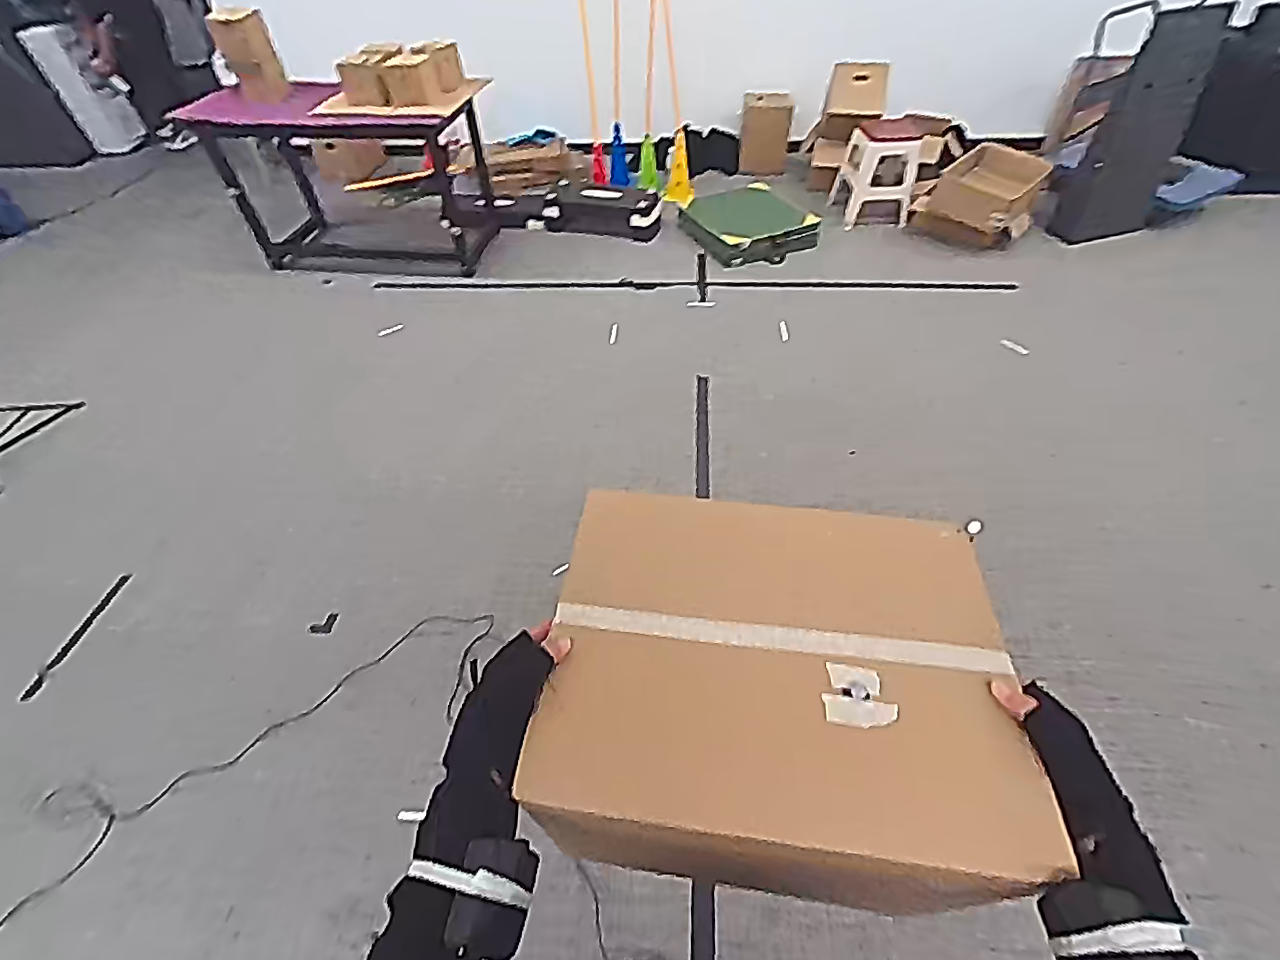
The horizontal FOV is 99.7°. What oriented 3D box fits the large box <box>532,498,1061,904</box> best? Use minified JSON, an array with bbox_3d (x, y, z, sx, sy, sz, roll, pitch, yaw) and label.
[{"bbox_3d":[0.129,0.248,0.614,0.408,0.320,0.320,6,50,6],"label":"large box"}]
